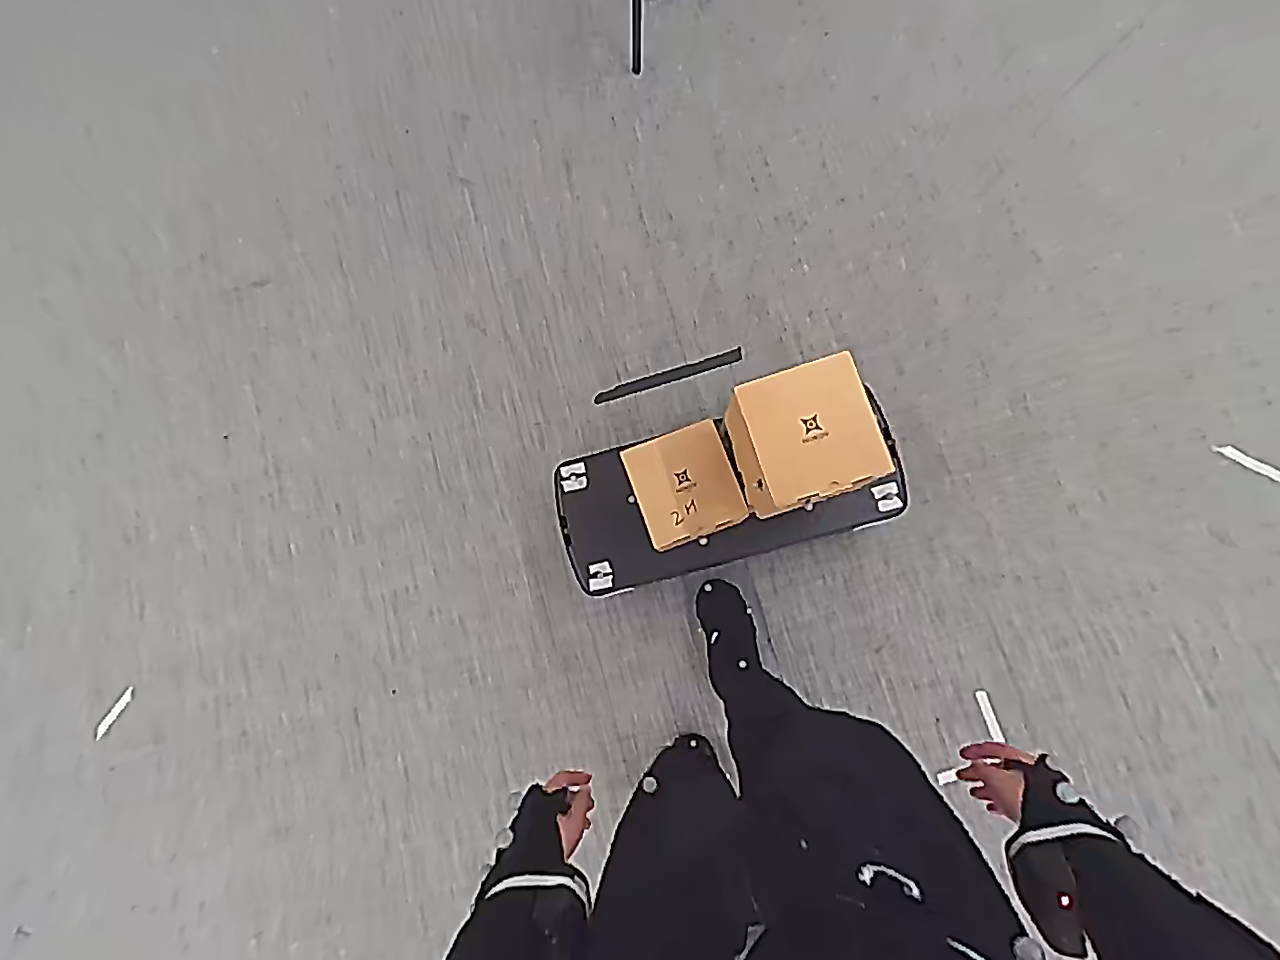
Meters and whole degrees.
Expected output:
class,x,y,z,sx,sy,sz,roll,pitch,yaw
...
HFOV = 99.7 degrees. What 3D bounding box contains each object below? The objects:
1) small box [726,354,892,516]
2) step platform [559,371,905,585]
class,x,y,z,sx,sy,sz,roll,pitch,yaw
small box,0.234,-0.055,0.800,0.168,0.176,0.179,-18,81,2
step platform,0.178,0.003,1.137,0.684,0.204,0.286,-16,80,3
